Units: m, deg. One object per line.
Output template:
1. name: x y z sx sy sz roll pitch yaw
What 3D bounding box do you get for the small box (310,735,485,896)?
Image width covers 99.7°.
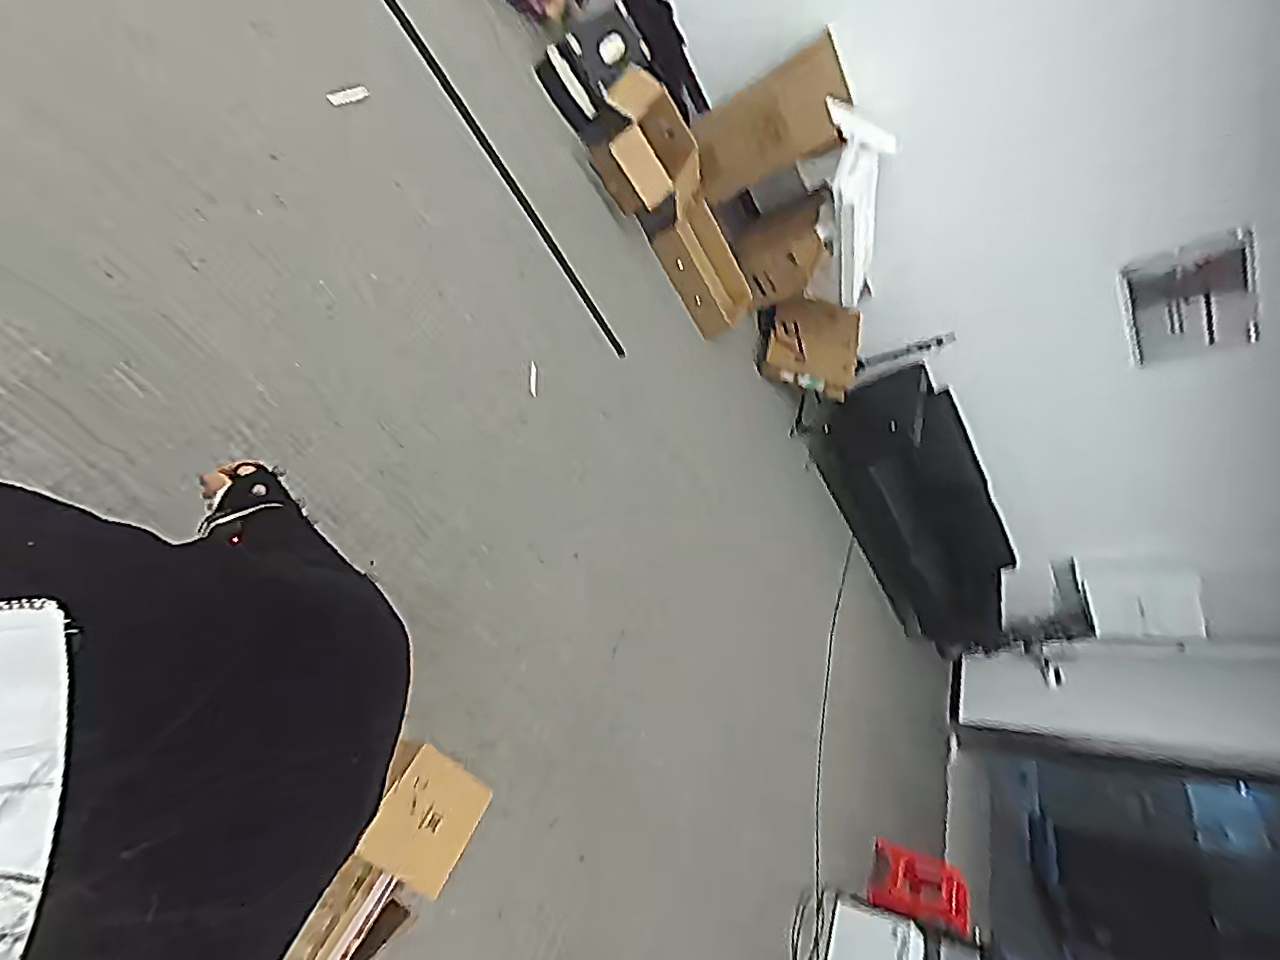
1. small box: -0.408 0.555 0.916 0.179 0.176 0.168 53 44 -23
